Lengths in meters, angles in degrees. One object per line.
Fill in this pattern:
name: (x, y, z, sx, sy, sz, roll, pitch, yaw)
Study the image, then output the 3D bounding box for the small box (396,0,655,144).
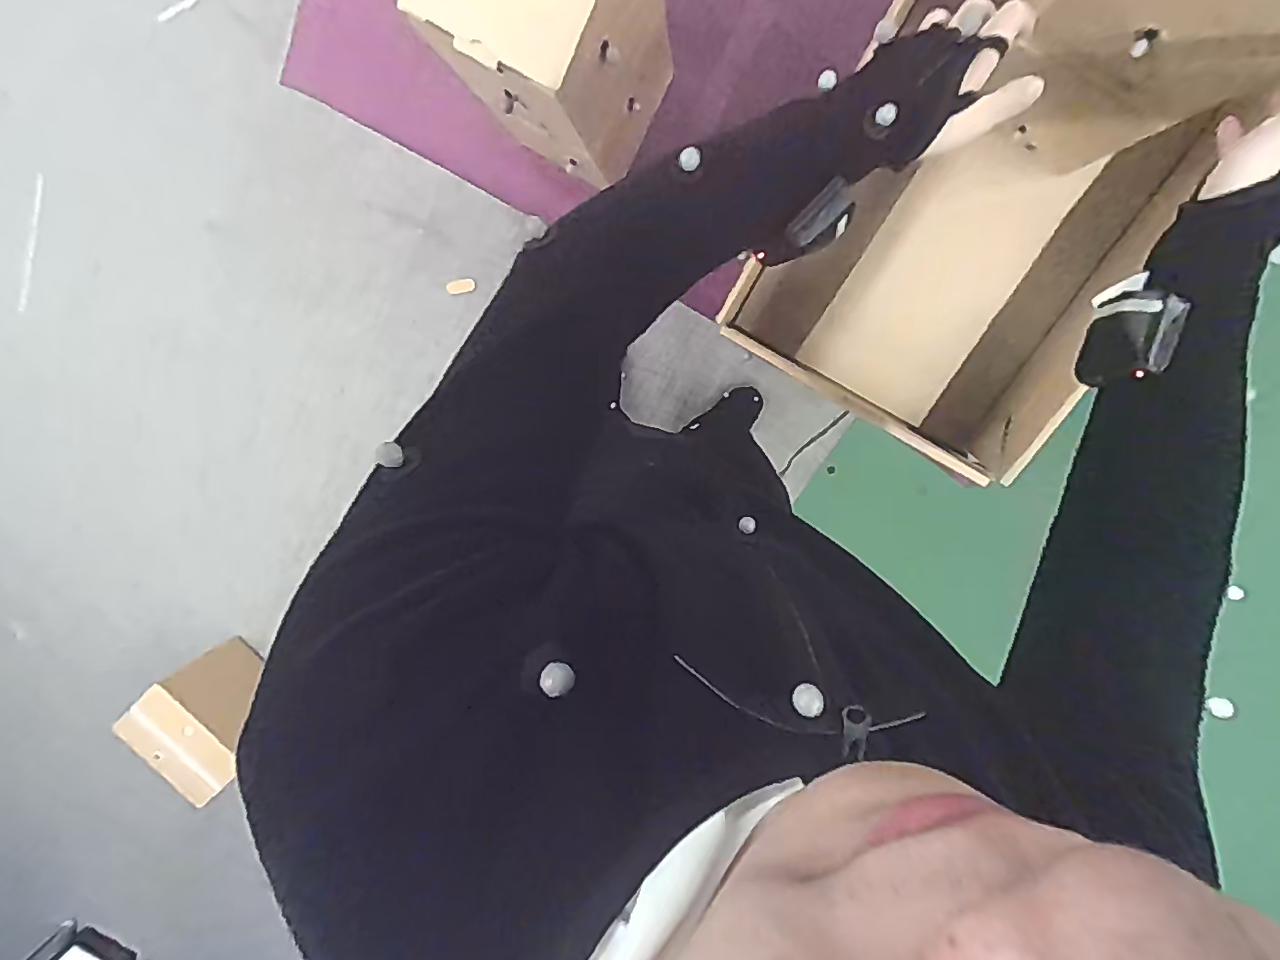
small box: (-0.095, -0.473, 0.529, 0.168, 0.176, 0.179, 30, 106, -1)

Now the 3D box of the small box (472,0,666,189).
small box: (-0.076, -0.509, 0.688, 0.168, 0.176, 0.179, 30, 104, -1)

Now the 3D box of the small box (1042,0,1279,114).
small box: (0.453, -0.424, 0.404, 0.168, 0.176, 0.179, 33, 107, 0)
